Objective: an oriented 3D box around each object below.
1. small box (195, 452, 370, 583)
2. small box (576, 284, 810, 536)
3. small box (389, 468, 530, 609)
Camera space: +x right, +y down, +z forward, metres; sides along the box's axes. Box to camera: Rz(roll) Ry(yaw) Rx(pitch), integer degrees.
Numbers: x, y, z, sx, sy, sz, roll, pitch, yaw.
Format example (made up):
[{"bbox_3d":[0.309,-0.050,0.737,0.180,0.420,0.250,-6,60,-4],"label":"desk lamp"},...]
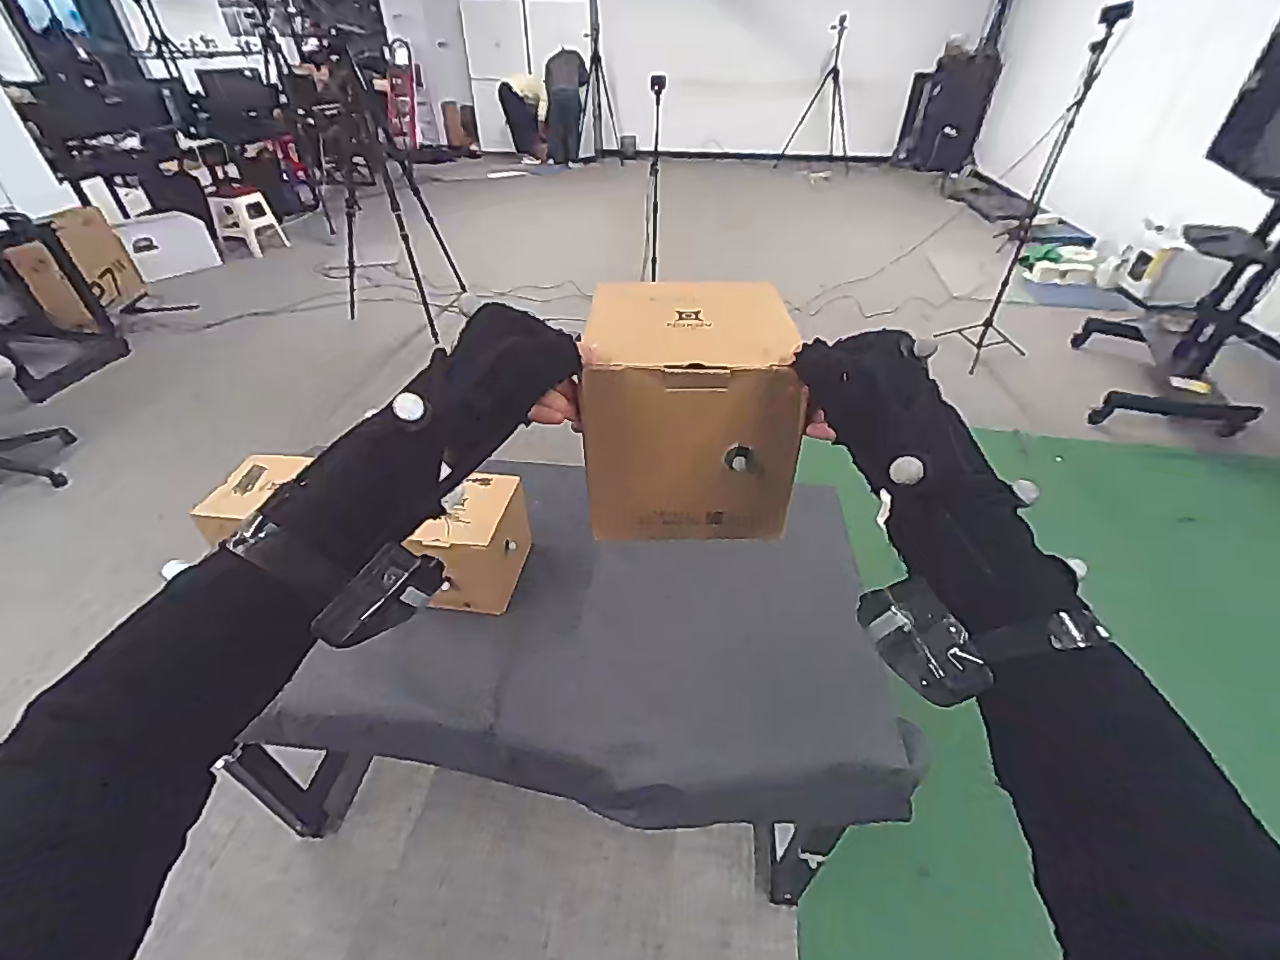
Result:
[{"bbox_3d":[-0.626,0.068,0.974,0.179,0.176,0.168,4,40,3],"label":"small box"},{"bbox_3d":[0.039,-0.064,0.484,0.168,0.176,0.179,1,37,0],"label":"small box"},{"bbox_3d":[-0.297,0.103,0.940,0.168,0.176,0.179,5,40,5],"label":"small box"}]
